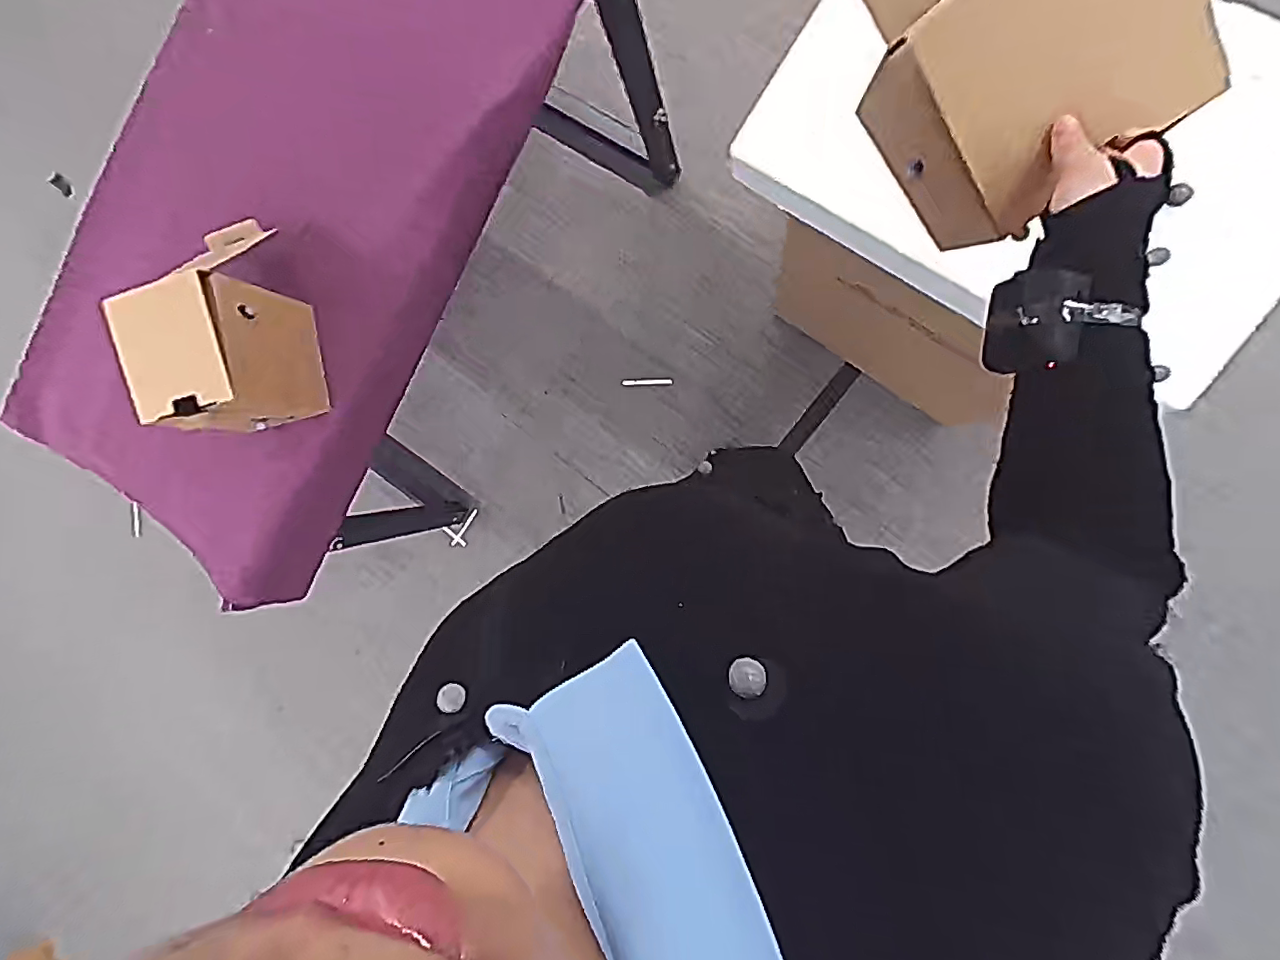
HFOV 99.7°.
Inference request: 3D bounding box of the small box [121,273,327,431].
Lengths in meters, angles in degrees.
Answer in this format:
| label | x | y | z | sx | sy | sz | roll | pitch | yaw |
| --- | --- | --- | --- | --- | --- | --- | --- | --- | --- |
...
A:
| label | x | y | z | sx | sy | sz | roll | pitch | yaw |
| --- | --- | --- | --- | --- | --- | --- | --- | --- | --- |
| small box | -0.607 | -0.177 | 0.806 | 0.168 | 0.176 | 0.179 | -11 | 89 | 13 |
